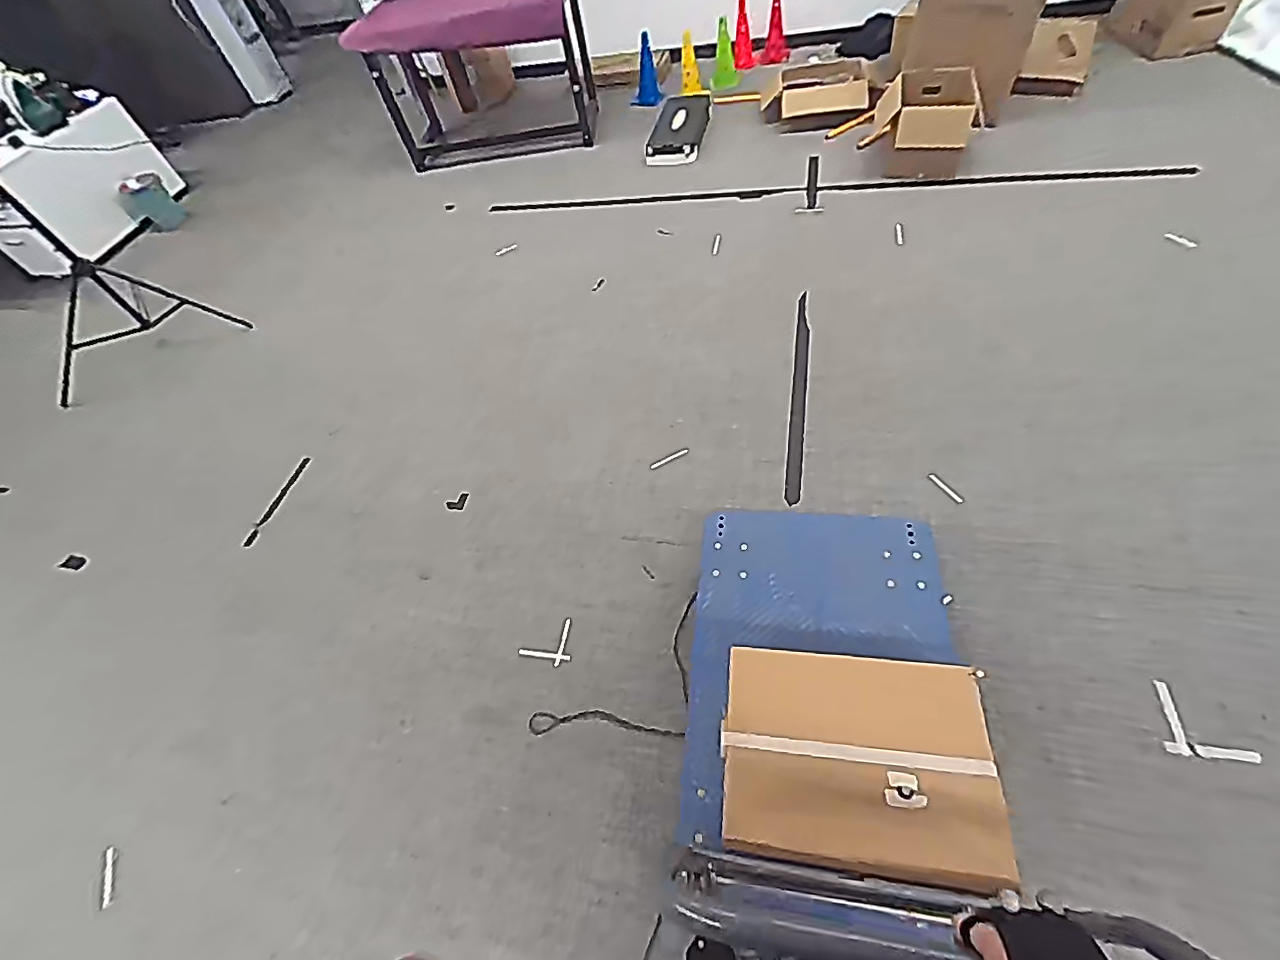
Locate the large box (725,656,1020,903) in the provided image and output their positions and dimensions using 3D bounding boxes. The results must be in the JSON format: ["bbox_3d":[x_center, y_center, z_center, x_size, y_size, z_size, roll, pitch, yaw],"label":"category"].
[{"bbox_3d":[0.358,0.532,0.969,0.408,0.320,0.320,2,55,11],"label":"large box"}]
